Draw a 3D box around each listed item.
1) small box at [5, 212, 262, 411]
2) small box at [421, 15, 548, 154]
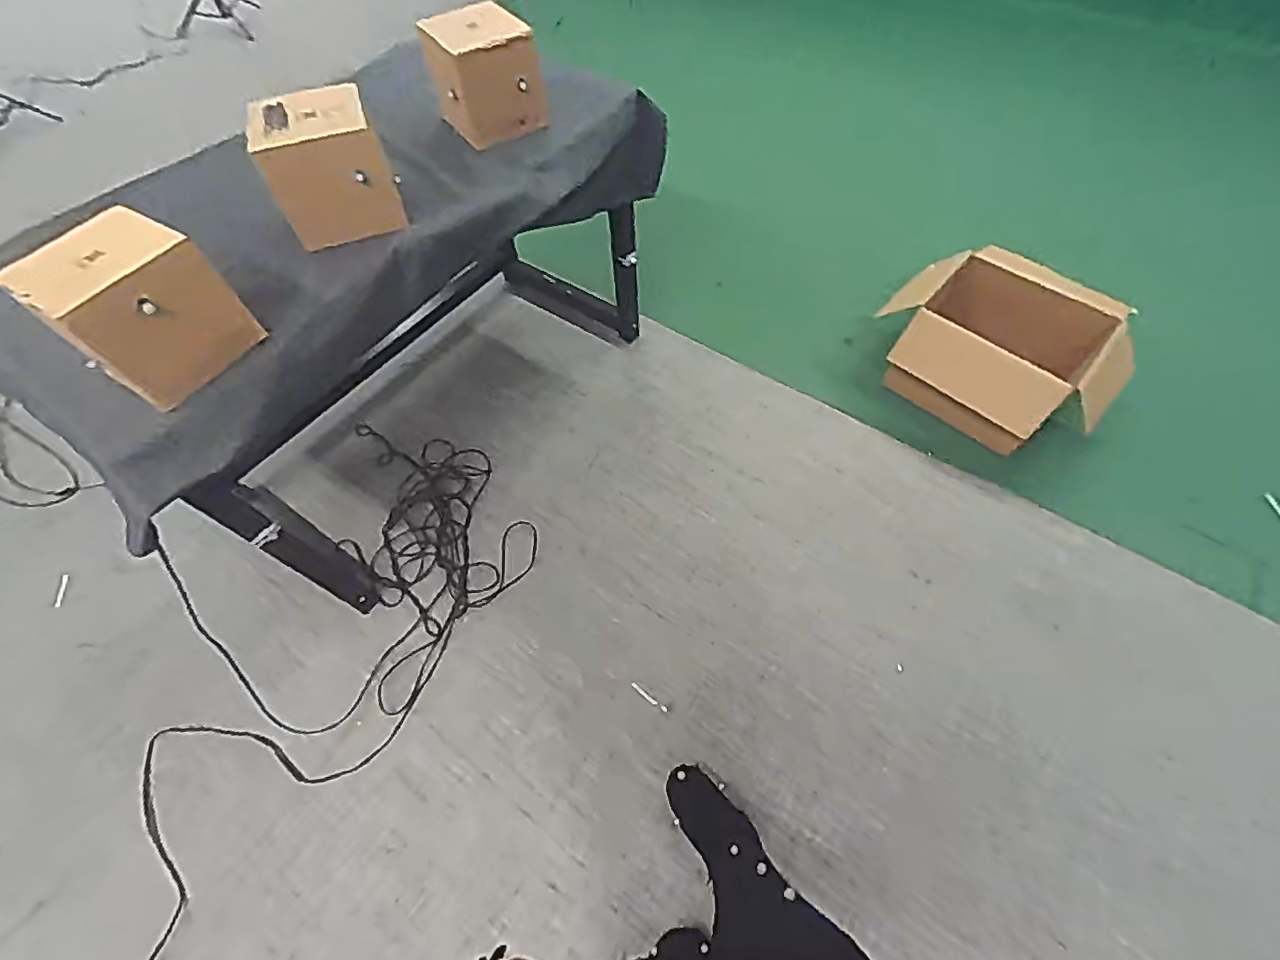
[{"bbox_3d":[-0.677,-0.232,0.752,0.168,0.176,0.179,26,63,20],"label":"small box"},{"bbox_3d":[-0.302,-0.786,1.084,0.168,0.176,0.179,-32,61,-17],"label":"small box"}]
